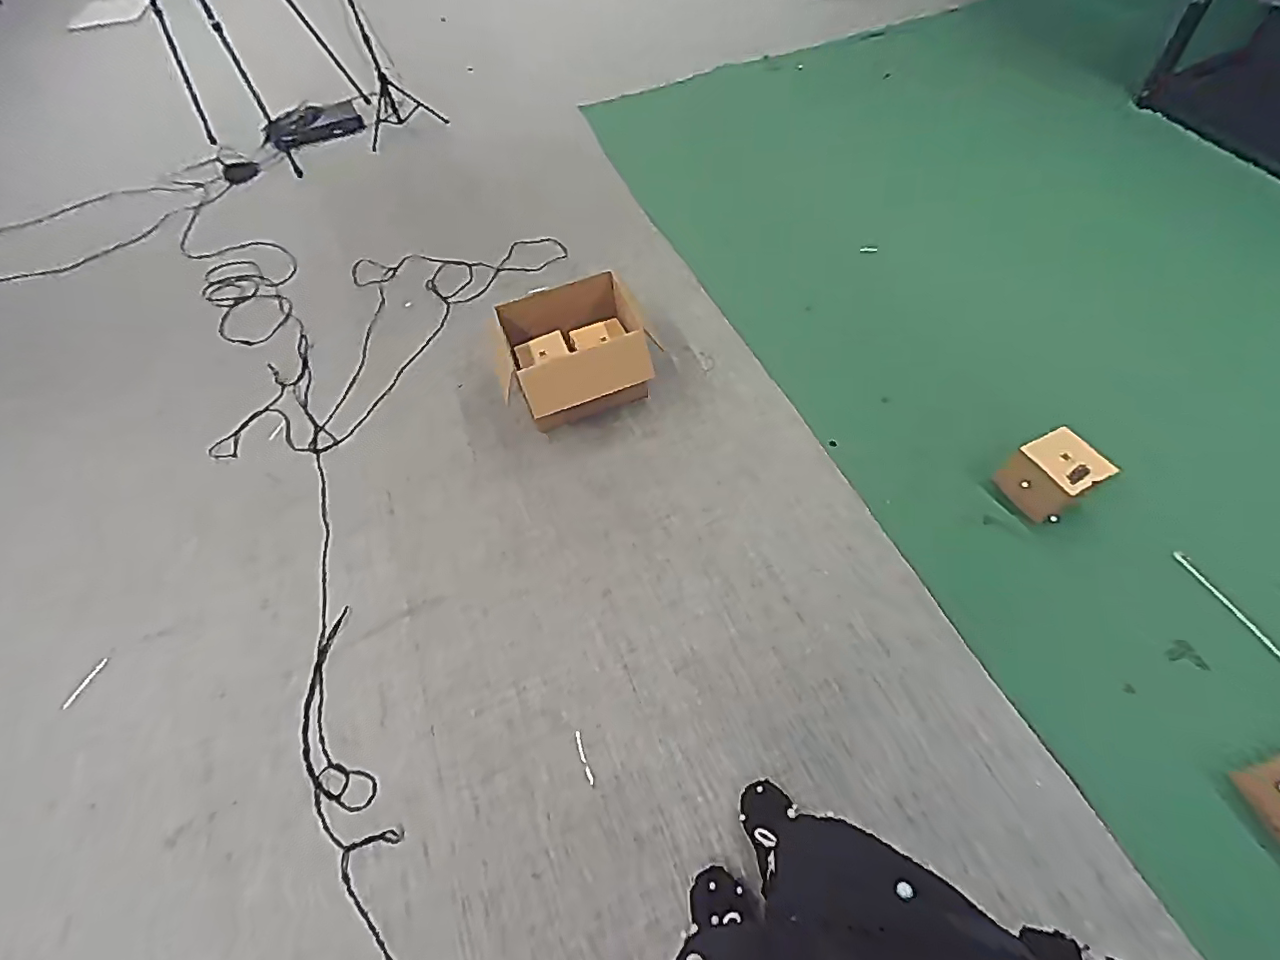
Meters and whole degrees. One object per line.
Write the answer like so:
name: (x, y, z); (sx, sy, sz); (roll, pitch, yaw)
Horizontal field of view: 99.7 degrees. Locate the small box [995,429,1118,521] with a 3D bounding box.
small box: (1.152, -0.005, 1.510); (0.168, 0.176, 0.179); (-23, 58, -10)
